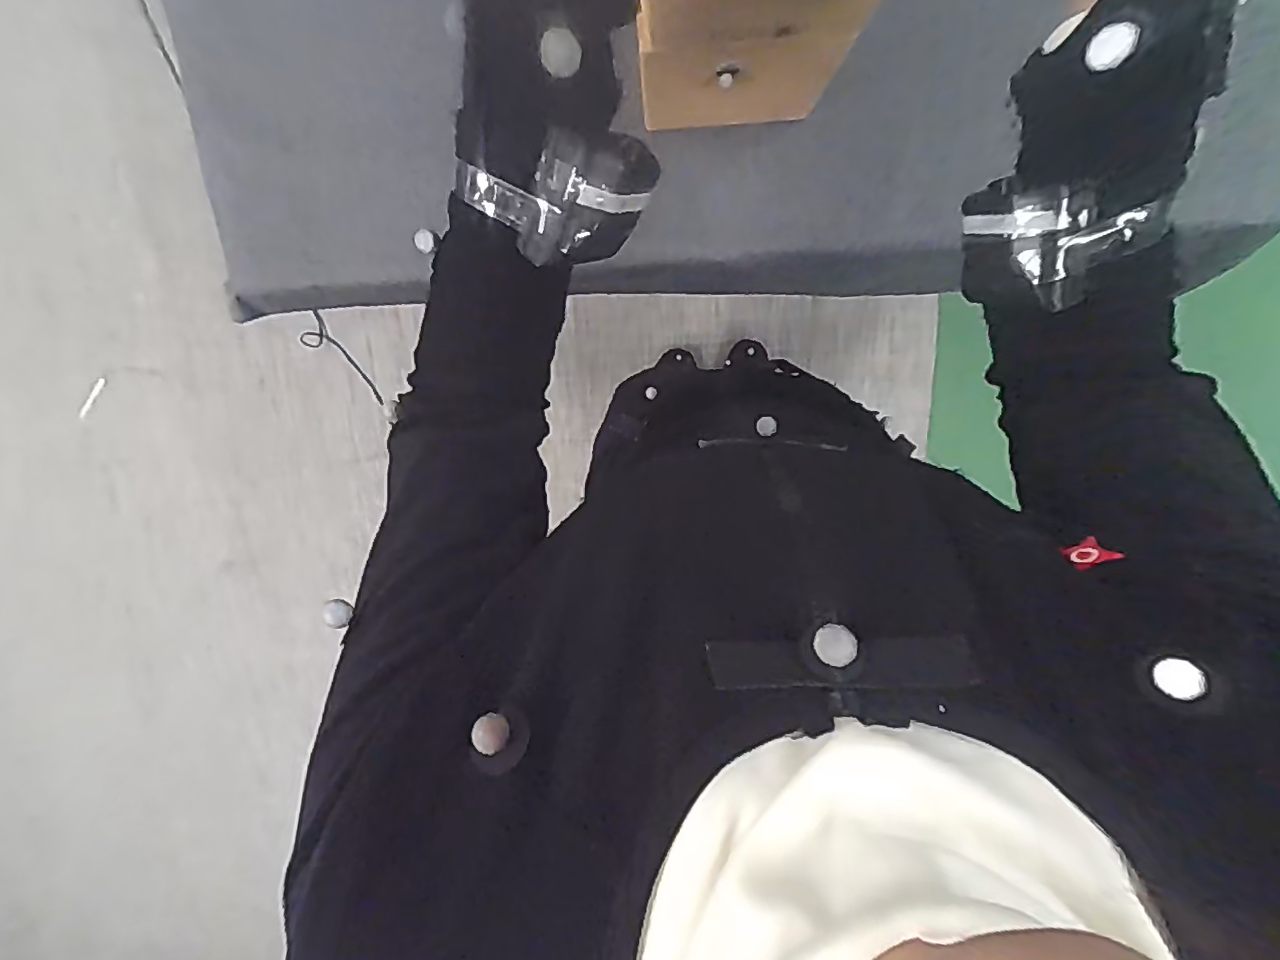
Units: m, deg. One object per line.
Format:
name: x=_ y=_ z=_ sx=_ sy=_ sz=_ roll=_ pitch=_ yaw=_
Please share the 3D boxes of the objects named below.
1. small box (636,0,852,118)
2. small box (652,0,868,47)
small box: x=0.087 y=-0.460 z=0.501 sx=0.179 sy=0.176 sz=0.168 roll=-2 pitch=104 yaw=3
small box: x=0.086 y=-0.424 z=0.345 sx=0.168 sy=0.176 sz=0.179 roll=-4 pitch=106 yaw=2
